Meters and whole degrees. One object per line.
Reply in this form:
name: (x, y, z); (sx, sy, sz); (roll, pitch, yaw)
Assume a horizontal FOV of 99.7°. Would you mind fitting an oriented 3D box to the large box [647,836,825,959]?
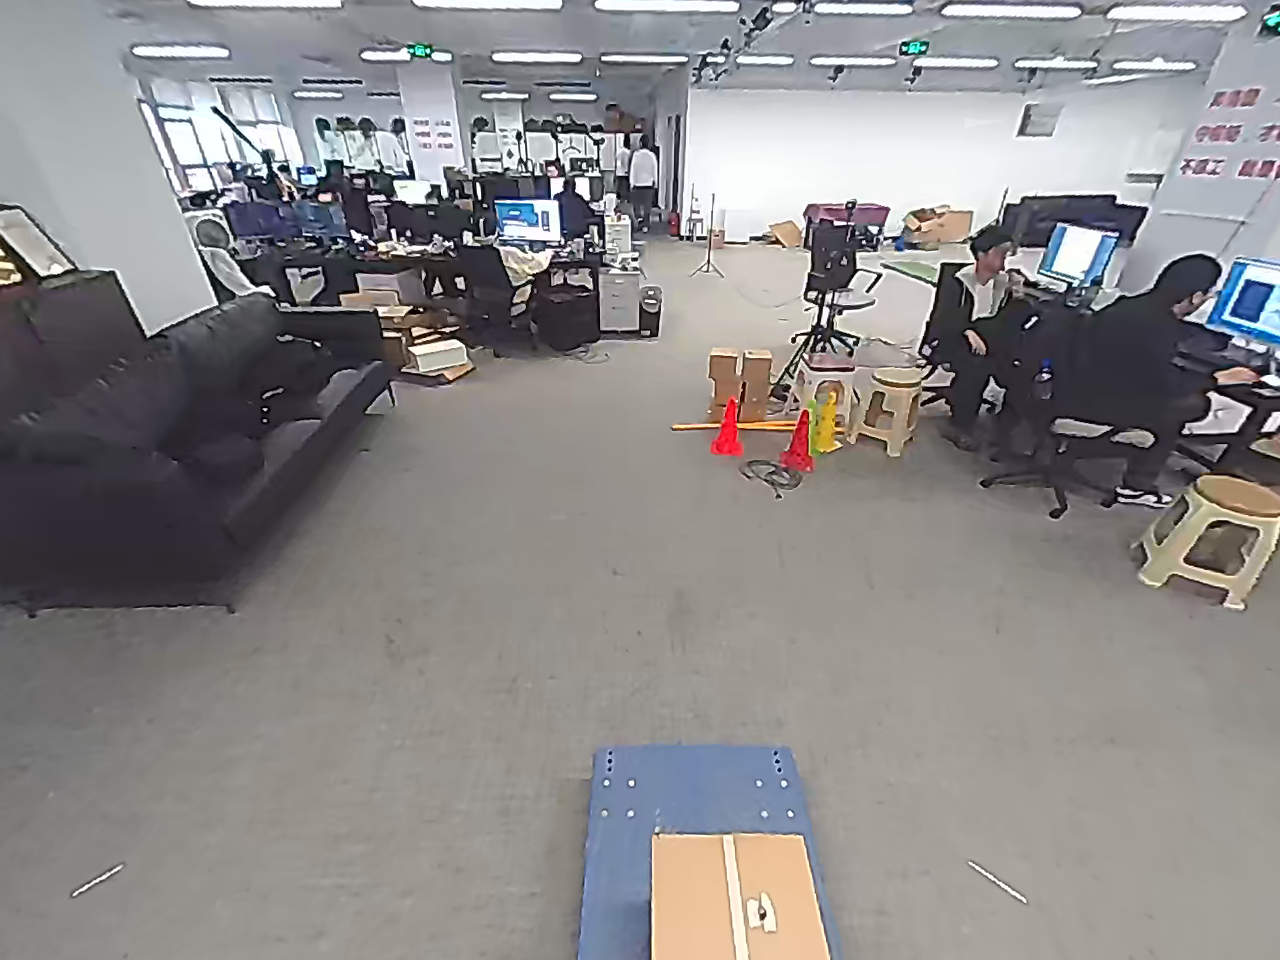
large box: (0.173, 0.965, 1.016); (0.320, 0.320, 0.408); (0, 31, 0)
